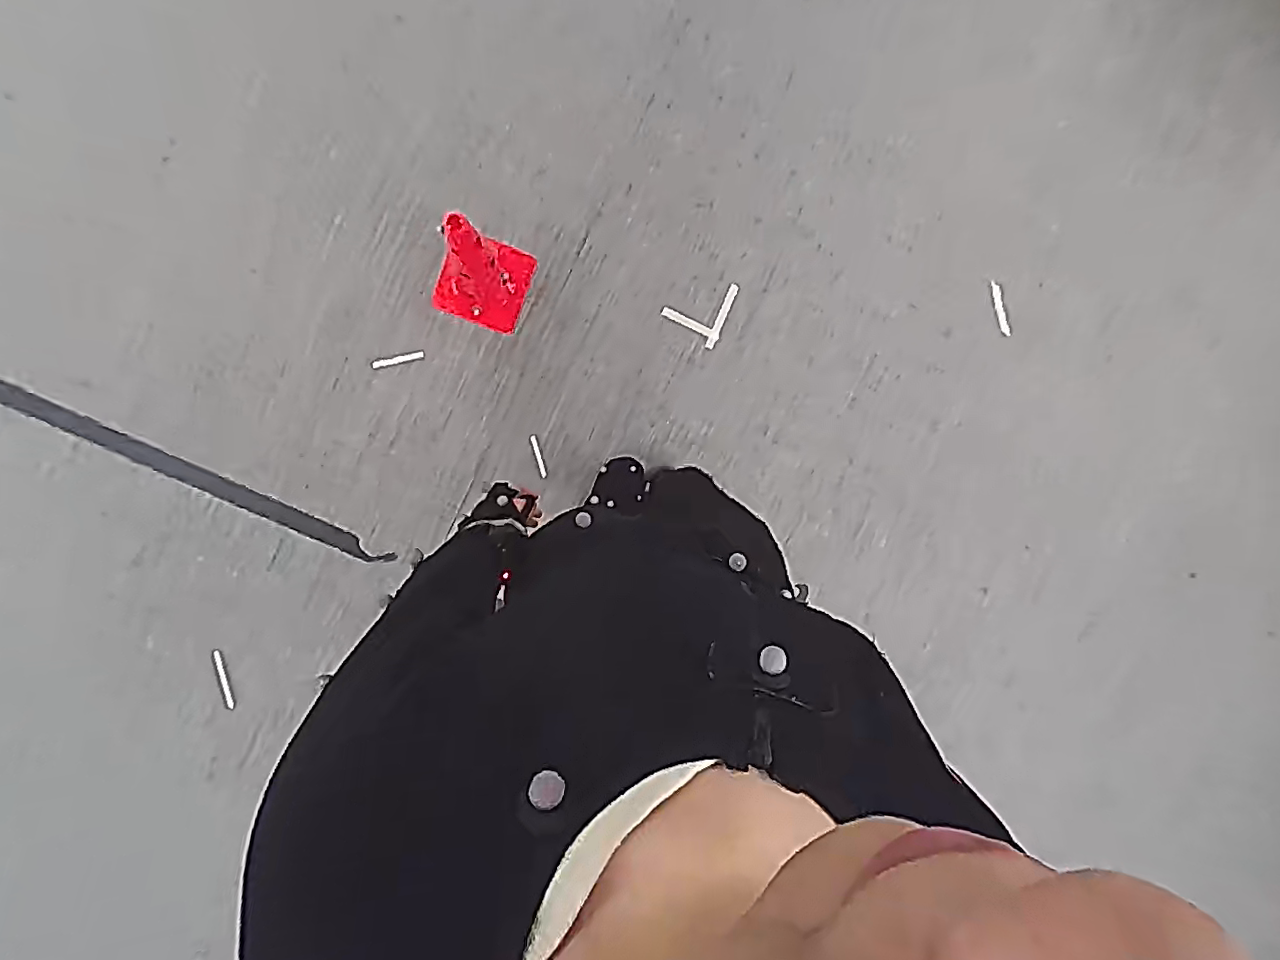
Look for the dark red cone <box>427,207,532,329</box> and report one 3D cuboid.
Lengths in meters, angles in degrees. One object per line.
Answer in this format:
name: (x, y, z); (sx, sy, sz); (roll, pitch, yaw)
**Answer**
dark red cone: (-0.339, -0.449, 1.072); (0.202, 0.394, 0.201); (18, 93, -9)
